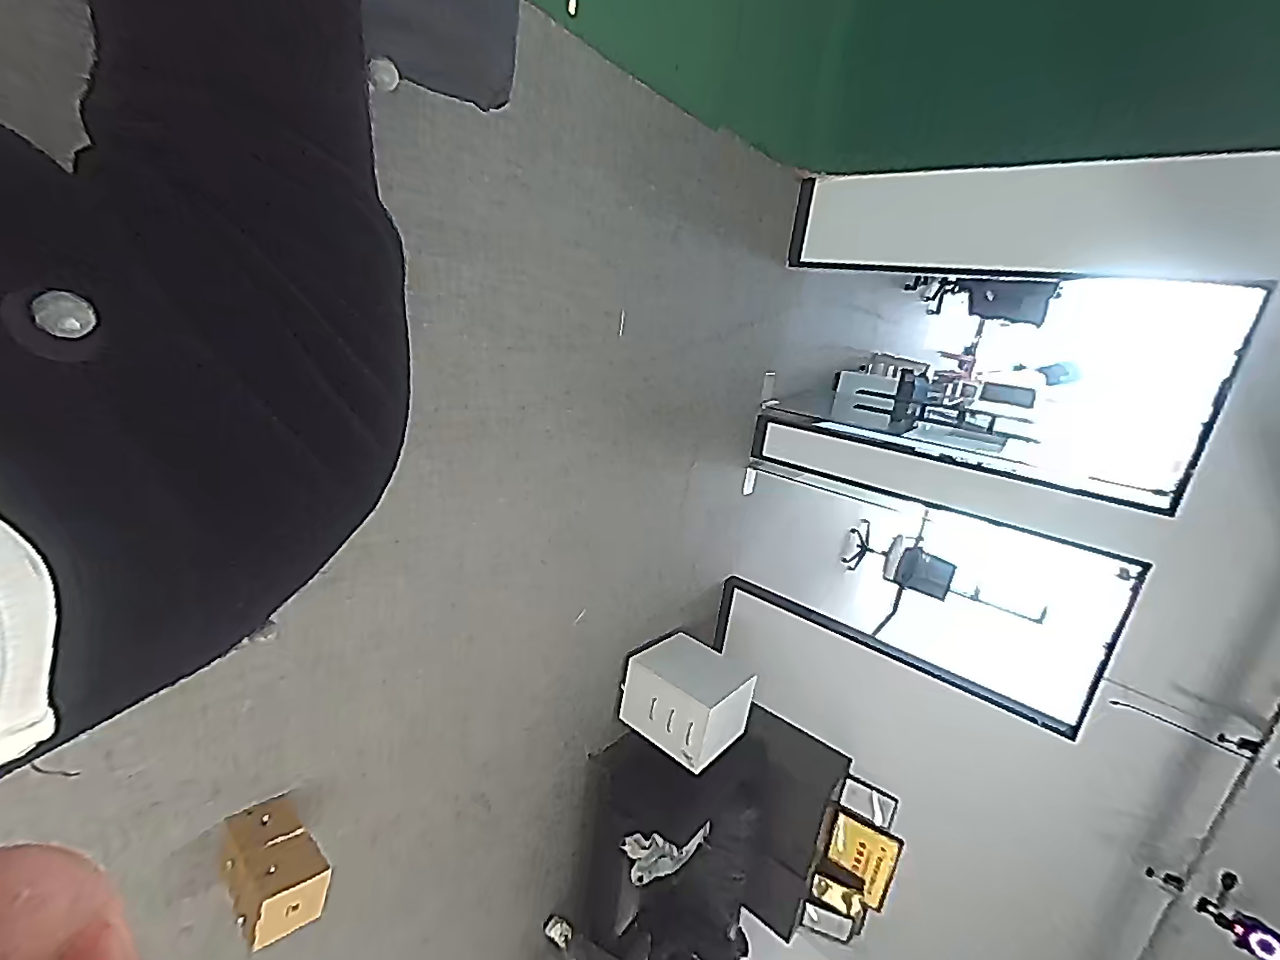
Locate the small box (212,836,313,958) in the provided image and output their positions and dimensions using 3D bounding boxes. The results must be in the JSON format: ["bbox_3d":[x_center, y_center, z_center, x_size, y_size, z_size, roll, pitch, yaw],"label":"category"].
[{"bbox_3d":[-1.058,1.152,1.511,0.179,0.176,0.168,7,102,-56],"label":"small box"}]

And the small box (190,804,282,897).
[{"bbox_3d":[-1.177,1.114,1.604,0.179,0.176,0.168,-39,137,-38],"label":"small box"}]
